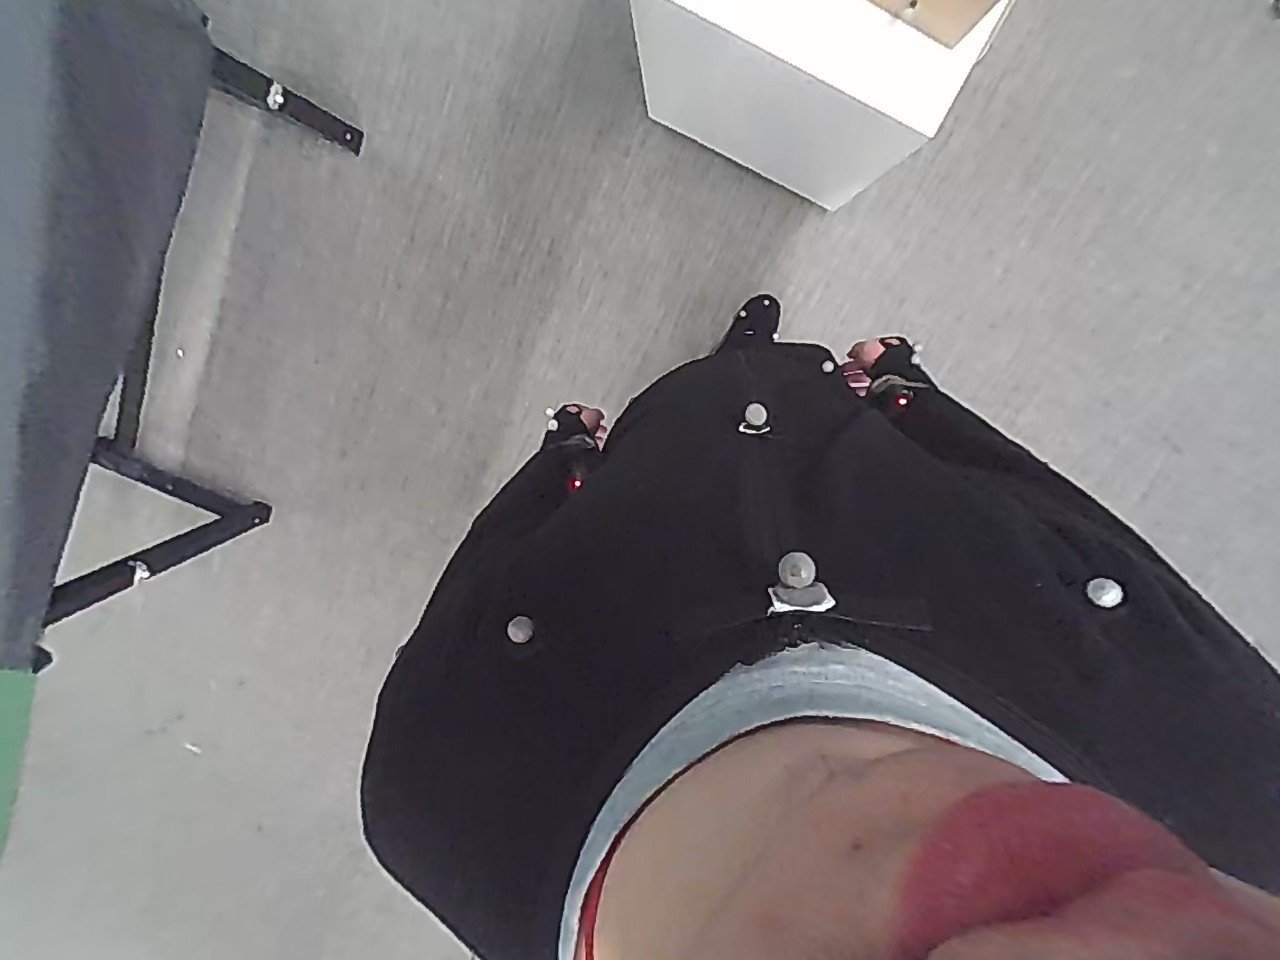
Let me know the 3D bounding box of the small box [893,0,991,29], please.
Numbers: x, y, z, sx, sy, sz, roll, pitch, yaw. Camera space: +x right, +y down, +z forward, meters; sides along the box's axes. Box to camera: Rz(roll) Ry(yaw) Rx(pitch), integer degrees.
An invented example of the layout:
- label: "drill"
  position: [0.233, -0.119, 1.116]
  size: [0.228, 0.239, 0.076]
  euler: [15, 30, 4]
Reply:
- label: "small box"
  position: [0.397, -0.699, 0.650]
  size: [0.179, 0.176, 0.168]
  euler: [27, 107, -5]
